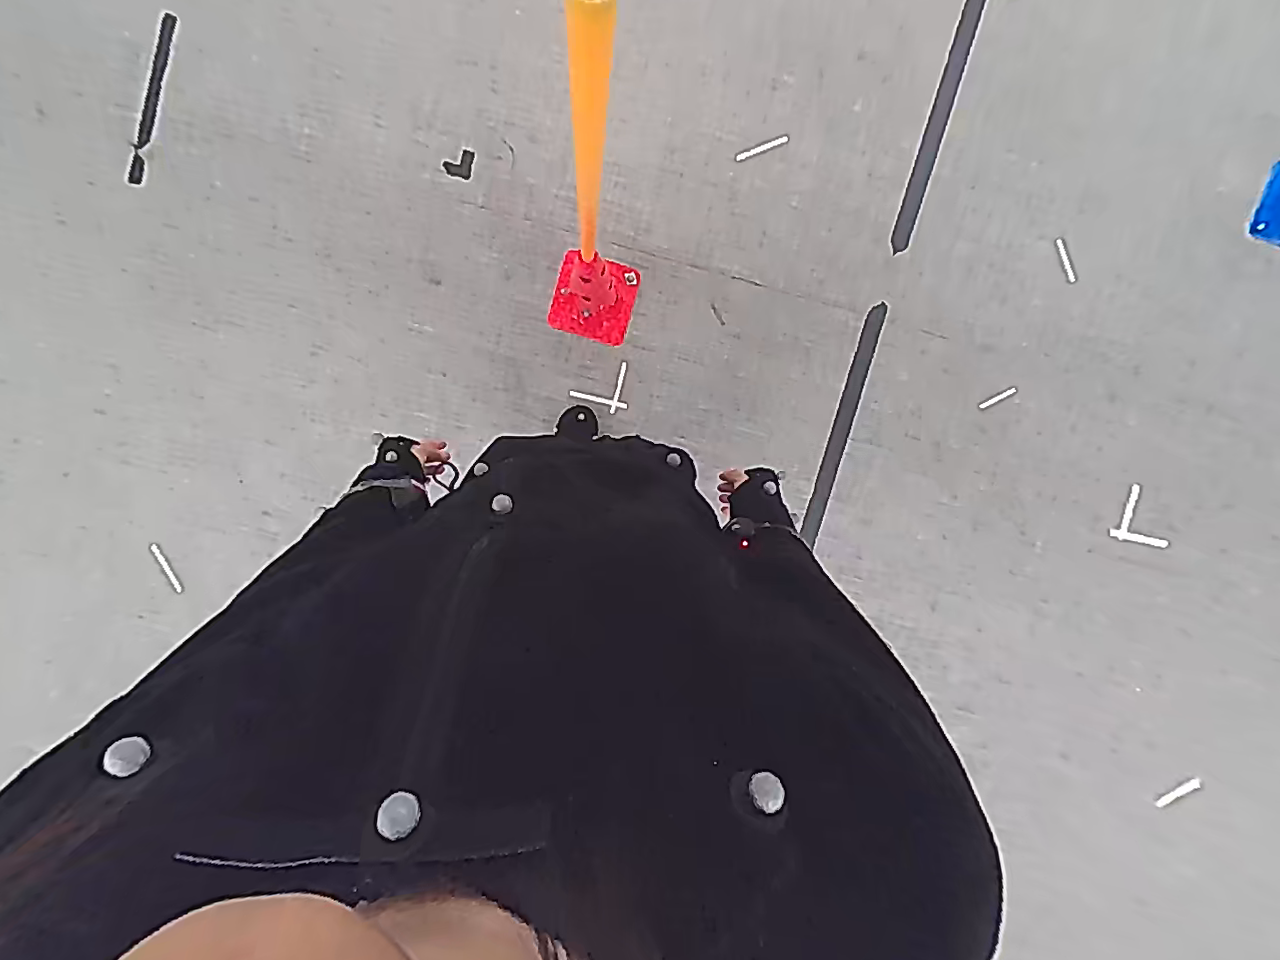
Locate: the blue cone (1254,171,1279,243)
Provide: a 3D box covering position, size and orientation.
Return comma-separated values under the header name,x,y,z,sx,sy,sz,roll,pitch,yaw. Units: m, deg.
name,x,y,z,sx,sy,sz,roll,pitch,yaw
blue cone,1.748,-0.700,1.271,0.193,0.380,0.192,18,95,-4
